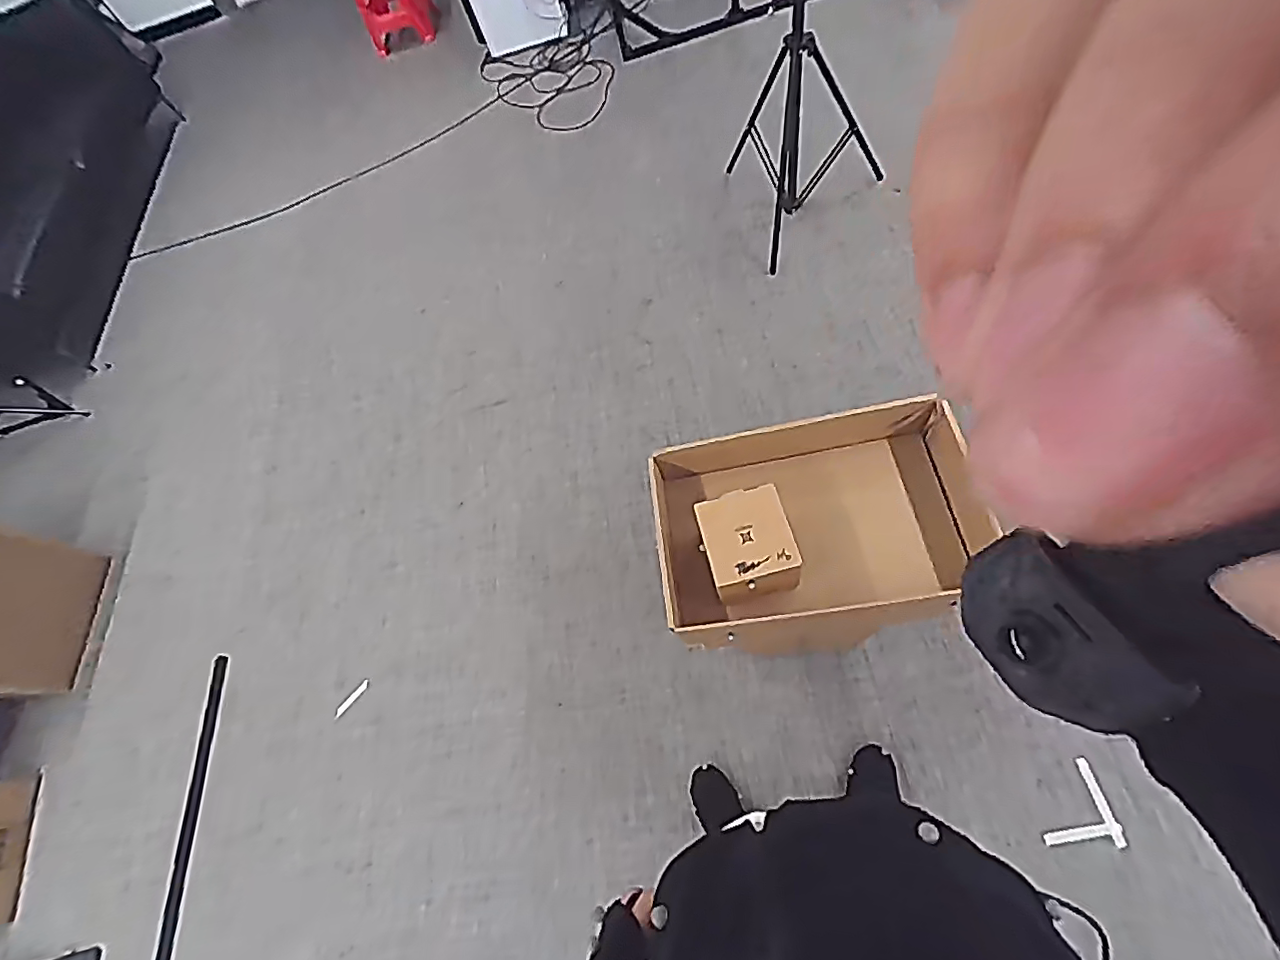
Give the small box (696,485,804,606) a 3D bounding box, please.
[{"bbox_3d":[0.221,0.137,1.094,0.168,0.176,0.179,-17,63,7],"label":"small box"}]
